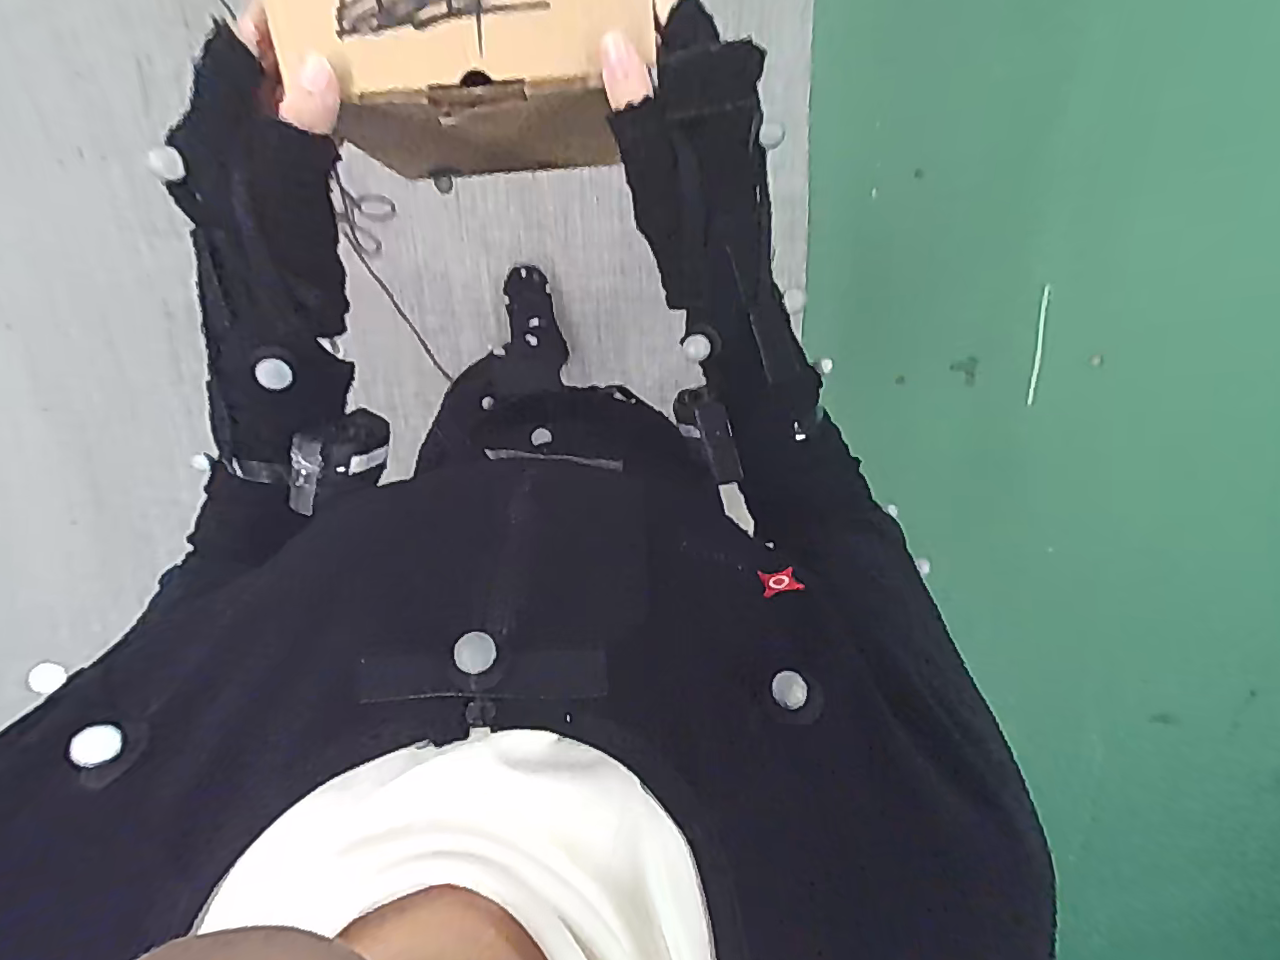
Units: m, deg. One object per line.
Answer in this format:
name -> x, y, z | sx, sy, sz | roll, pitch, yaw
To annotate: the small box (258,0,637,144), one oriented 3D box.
small box -> -0.091, -0.298, 0.288 | 0.168, 0.176, 0.179 | -6, 107, -3
